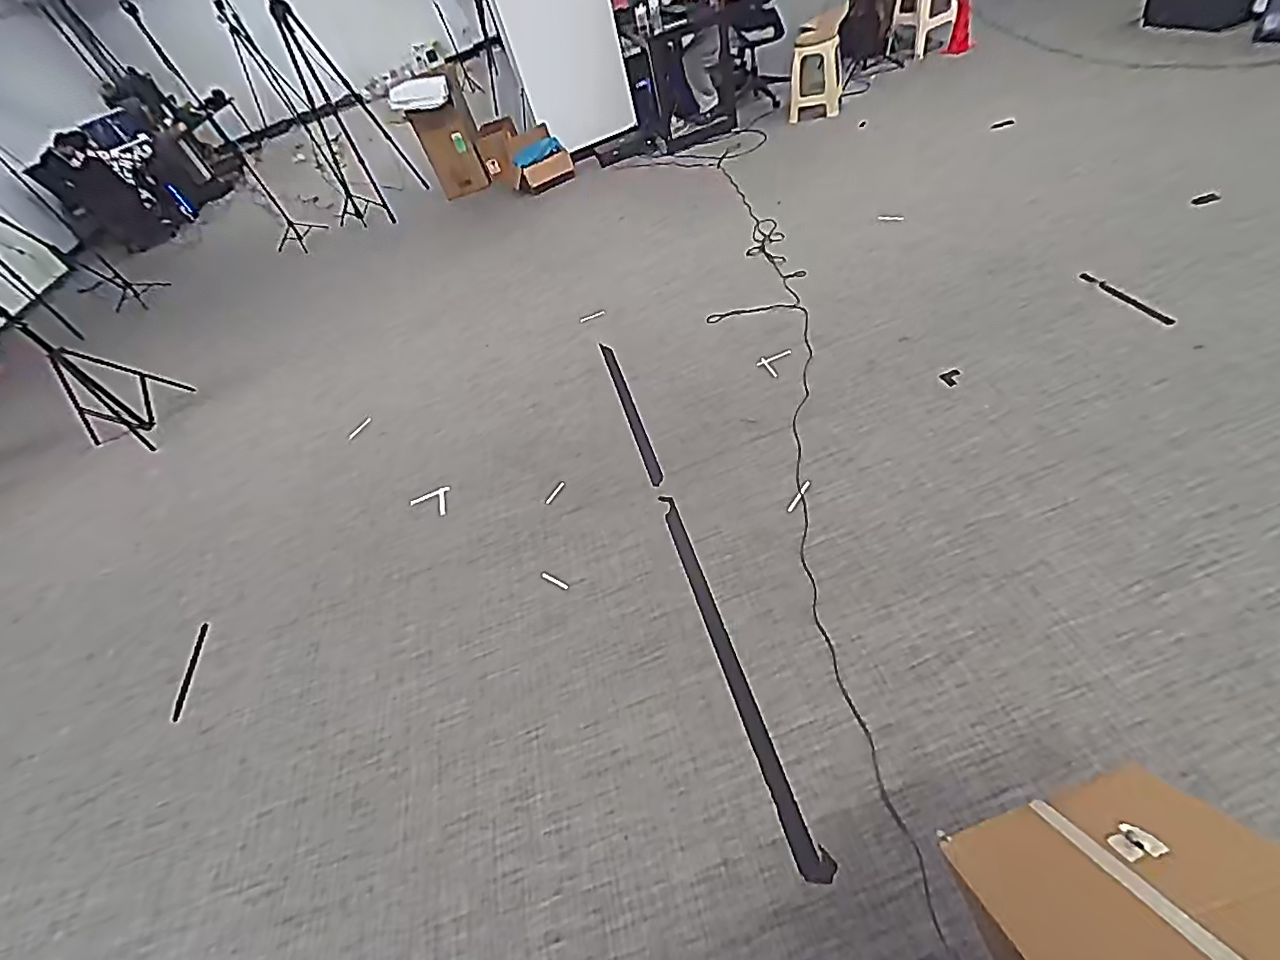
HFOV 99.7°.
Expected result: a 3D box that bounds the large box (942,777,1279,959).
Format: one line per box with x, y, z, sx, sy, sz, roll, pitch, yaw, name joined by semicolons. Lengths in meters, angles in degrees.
0.641;0.623;0.601;0.320;0.408;0.320;-23;84;2;large box
